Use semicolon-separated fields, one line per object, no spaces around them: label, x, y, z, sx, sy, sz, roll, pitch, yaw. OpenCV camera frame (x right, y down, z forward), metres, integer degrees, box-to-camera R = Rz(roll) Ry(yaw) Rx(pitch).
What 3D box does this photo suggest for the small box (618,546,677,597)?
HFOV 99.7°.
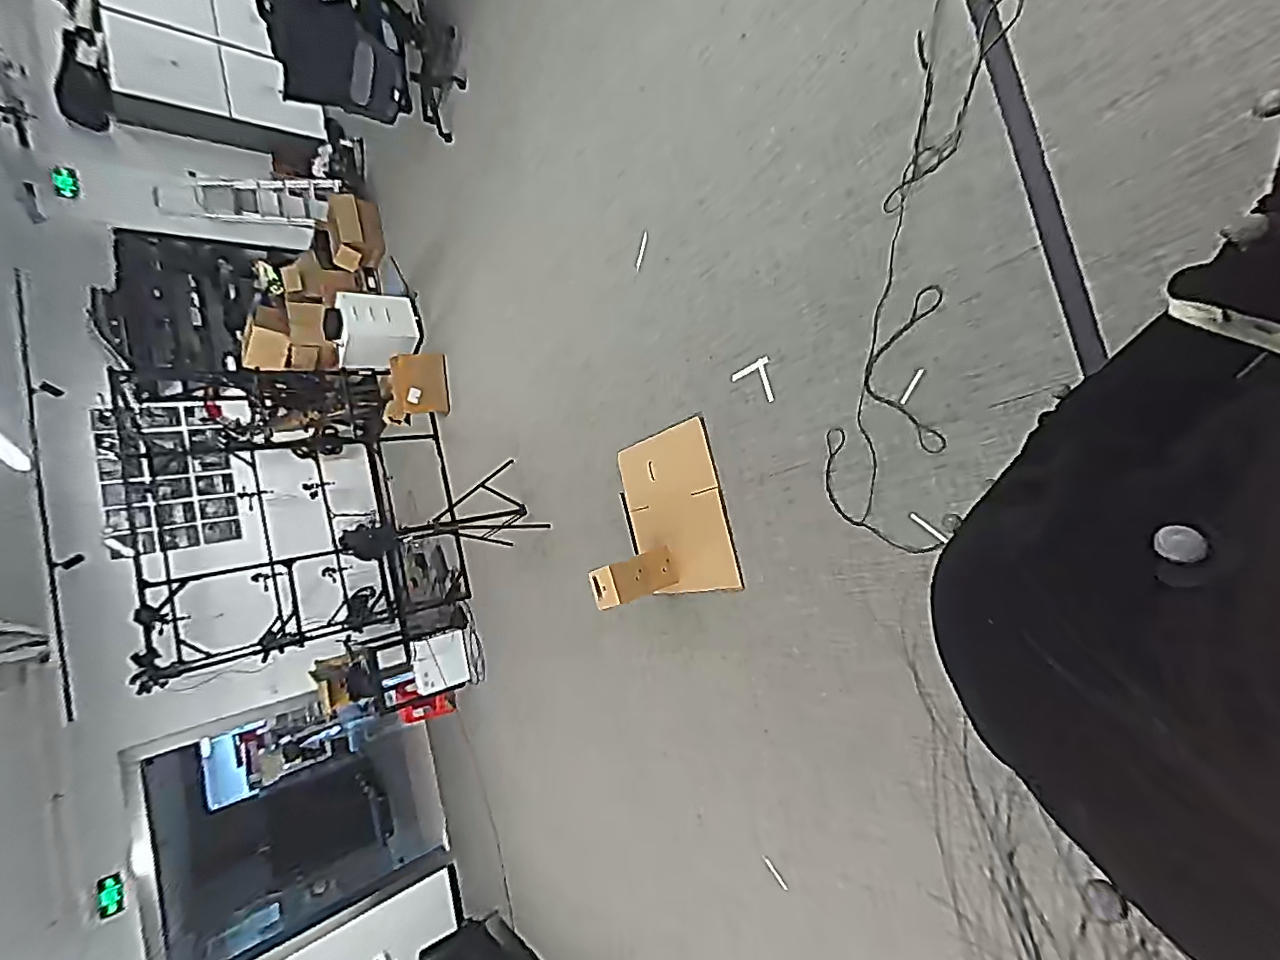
small box;0.035;0.405;2.391;0.179;0.176;0.168;-35;71;49
